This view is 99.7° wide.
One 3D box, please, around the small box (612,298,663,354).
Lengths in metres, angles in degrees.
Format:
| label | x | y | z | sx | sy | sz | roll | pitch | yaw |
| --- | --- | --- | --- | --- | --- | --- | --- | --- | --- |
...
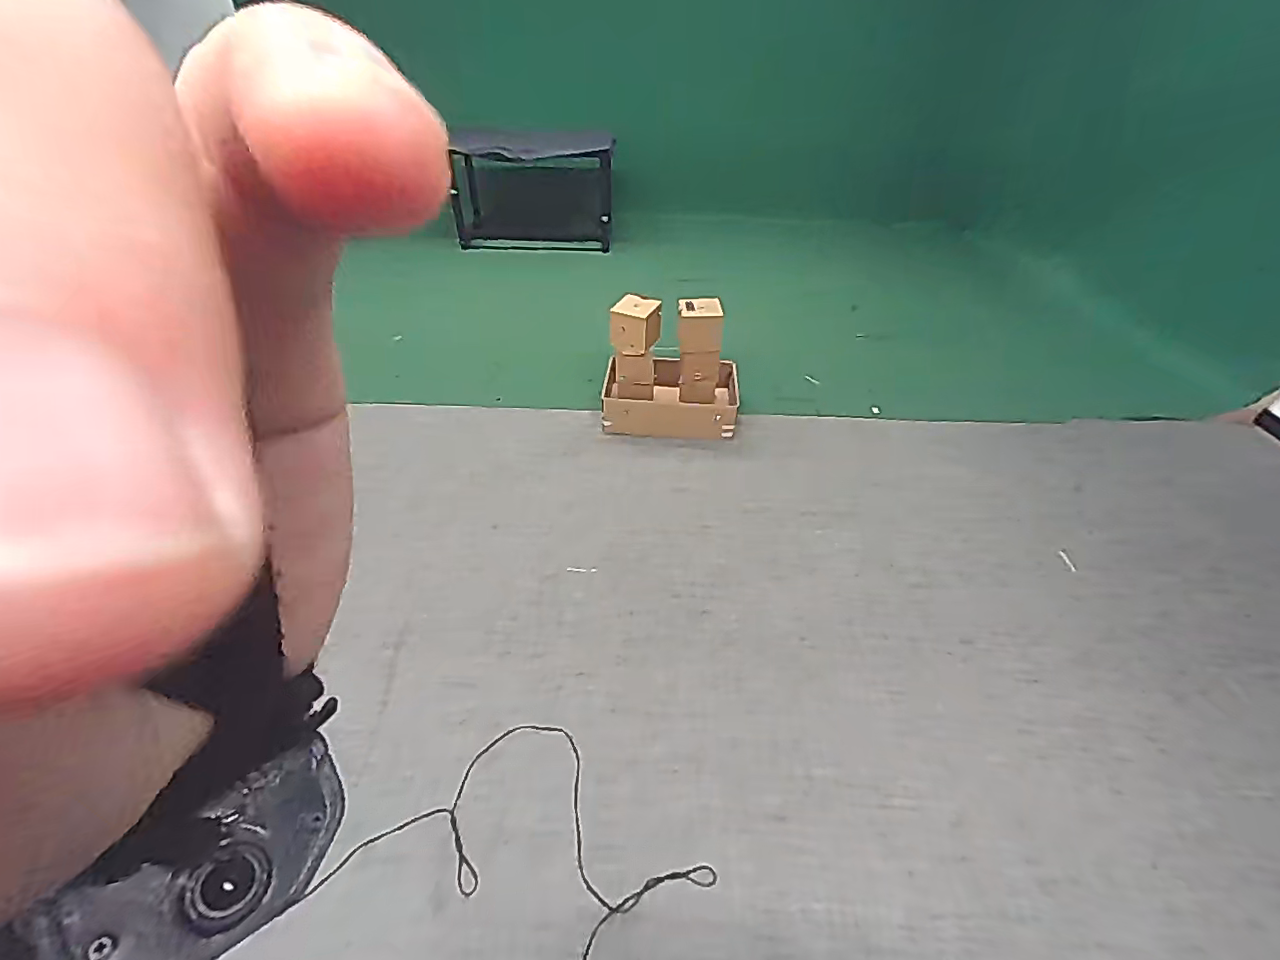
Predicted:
| label | x | y | z | sx | sy | sz | roll | pitch | yaw |
| --- | --- | --- | --- | --- | --- | --- | --- | --- | --- |
| small box | -0.010 | -0.664 | 2.336 | 0.168 | 0.176 | 0.179 | 19 | 44 | 17 |

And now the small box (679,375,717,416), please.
| label | x | y | z | sx | sy | sz | roll | pitch | yaw |
| --- | --- | --- | --- | --- | --- | --- | --- | --- | --- |
| small box | 0.278 | -0.428 | 2.574 | 0.168 | 0.176 | 0.179 | 5 | 42 | 6 |

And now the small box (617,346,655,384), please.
| label | x | y | z | sx | sy | sz | roll | pitch | yaw |
| --- | --- | --- | --- | --- | --- | --- | --- | --- | --- |
| small box | -0.016 | -0.548 | 2.450 | 0.168 | 0.176 | 0.179 | 4 | 41 | 1 |

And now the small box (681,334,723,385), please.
| label | x | y | z | sx | sy | sz | roll | pitch | yaw |
| --- | --- | --- | --- | --- | --- | --- | --- | --- | --- |
| small box | 0.278 | -0.548 | 2.464 | 0.168 | 0.176 | 0.179 | -2 | 44 | -1 |

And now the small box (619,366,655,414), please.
| label | x | y | z | sx | sy | sz | roll | pitch | yaw |
| --- | --- | --- | --- | --- | --- | --- | --- | --- | --- |
| small box | -0.014 | -0.433 | 2.567 | 0.168 | 0.176 | 0.179 | 2 | 42 | 1 |
